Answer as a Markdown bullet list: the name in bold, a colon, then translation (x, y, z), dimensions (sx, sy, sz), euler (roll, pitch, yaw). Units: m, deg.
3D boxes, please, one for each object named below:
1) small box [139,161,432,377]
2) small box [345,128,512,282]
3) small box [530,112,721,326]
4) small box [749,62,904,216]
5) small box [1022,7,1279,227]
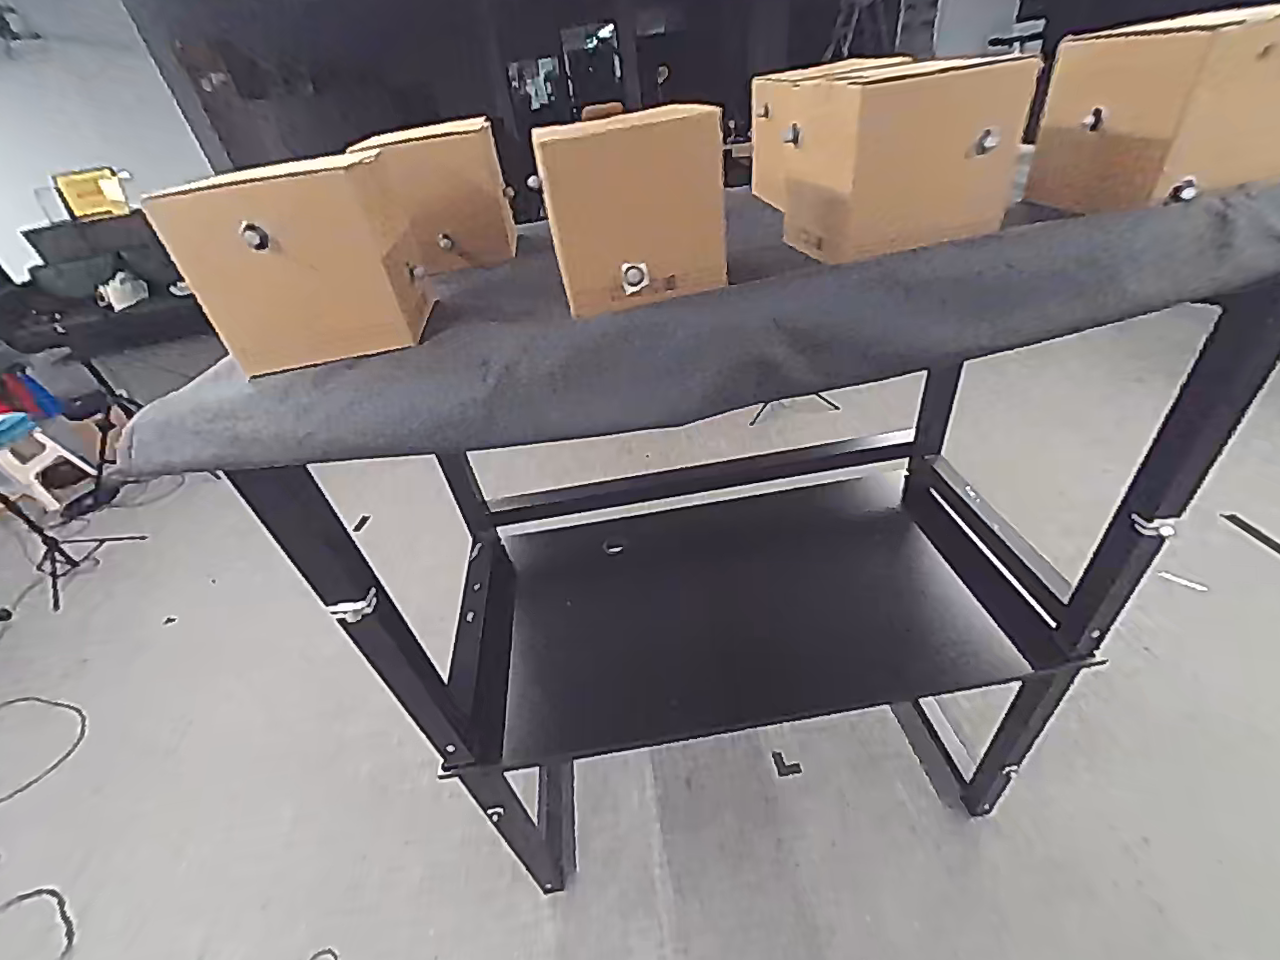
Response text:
- **small box**: translation (-0.344, -0.223, 0.572), dimensions (0.179, 0.176, 0.168), euler (-12, 36, -4)
- **small box**: translation (-0.295, -0.407, 0.805), dimensions (0.179, 0.176, 0.168), euler (-11, 37, -3)
- **small box**: translation (-0.018, -0.282, 0.582), dimensions (0.168, 0.176, 0.179), euler (-13, 36, -4)
- **small box**: translation (0.272, -0.516, 0.825), dimensions (0.168, 0.176, 0.179), euler (-11, 37, -1)
- **small box**: translation (0.570, -0.388, 0.589), dimensions (0.168, 0.176, 0.179), euler (-12, 36, -3)
